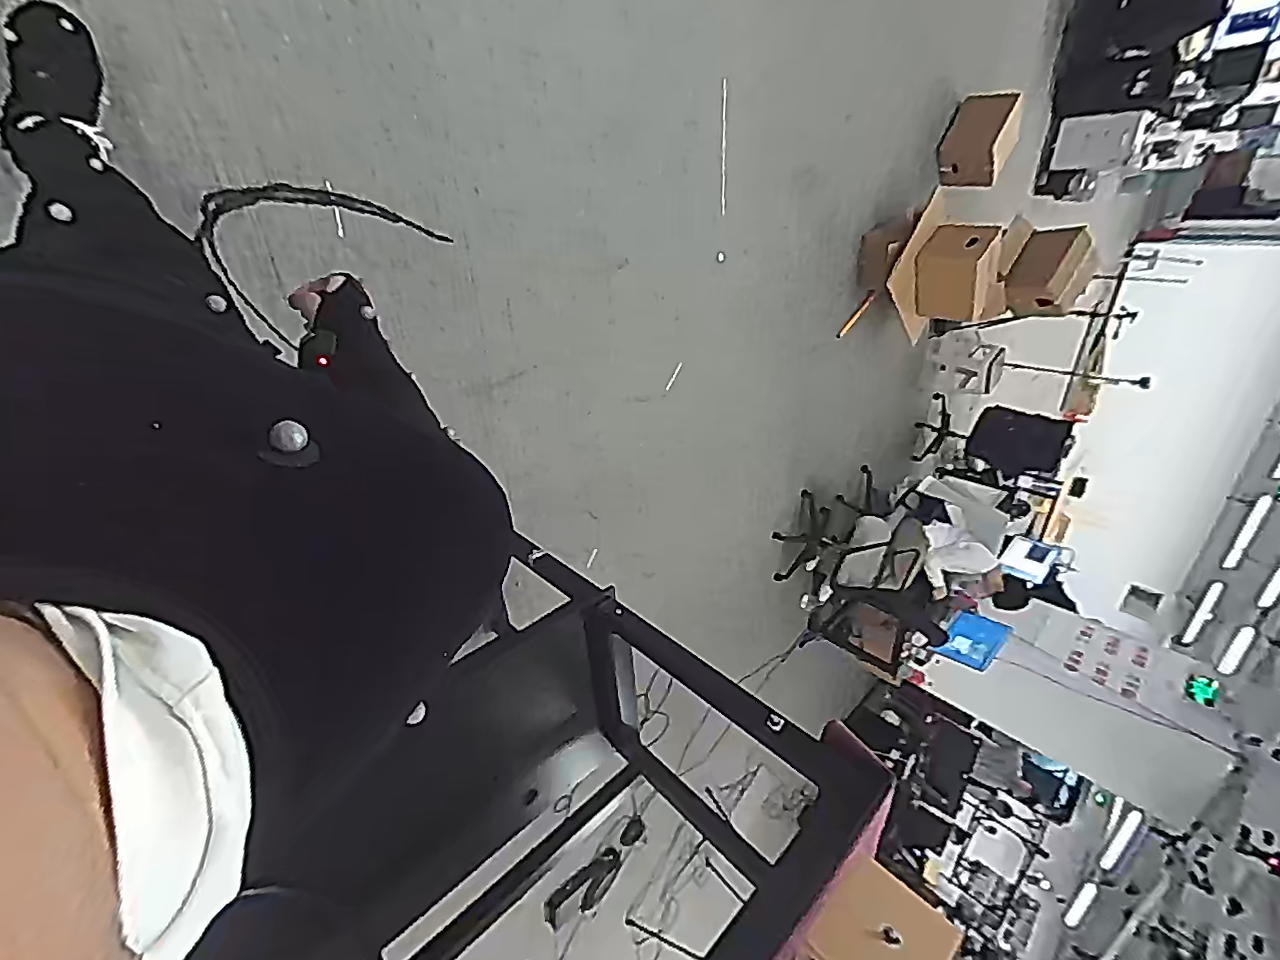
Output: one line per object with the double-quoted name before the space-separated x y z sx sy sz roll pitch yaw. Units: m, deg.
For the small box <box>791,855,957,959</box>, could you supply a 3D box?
"small box" 0.343 0.735 0.821 0.179 0.176 0.168 -27 127 -35
